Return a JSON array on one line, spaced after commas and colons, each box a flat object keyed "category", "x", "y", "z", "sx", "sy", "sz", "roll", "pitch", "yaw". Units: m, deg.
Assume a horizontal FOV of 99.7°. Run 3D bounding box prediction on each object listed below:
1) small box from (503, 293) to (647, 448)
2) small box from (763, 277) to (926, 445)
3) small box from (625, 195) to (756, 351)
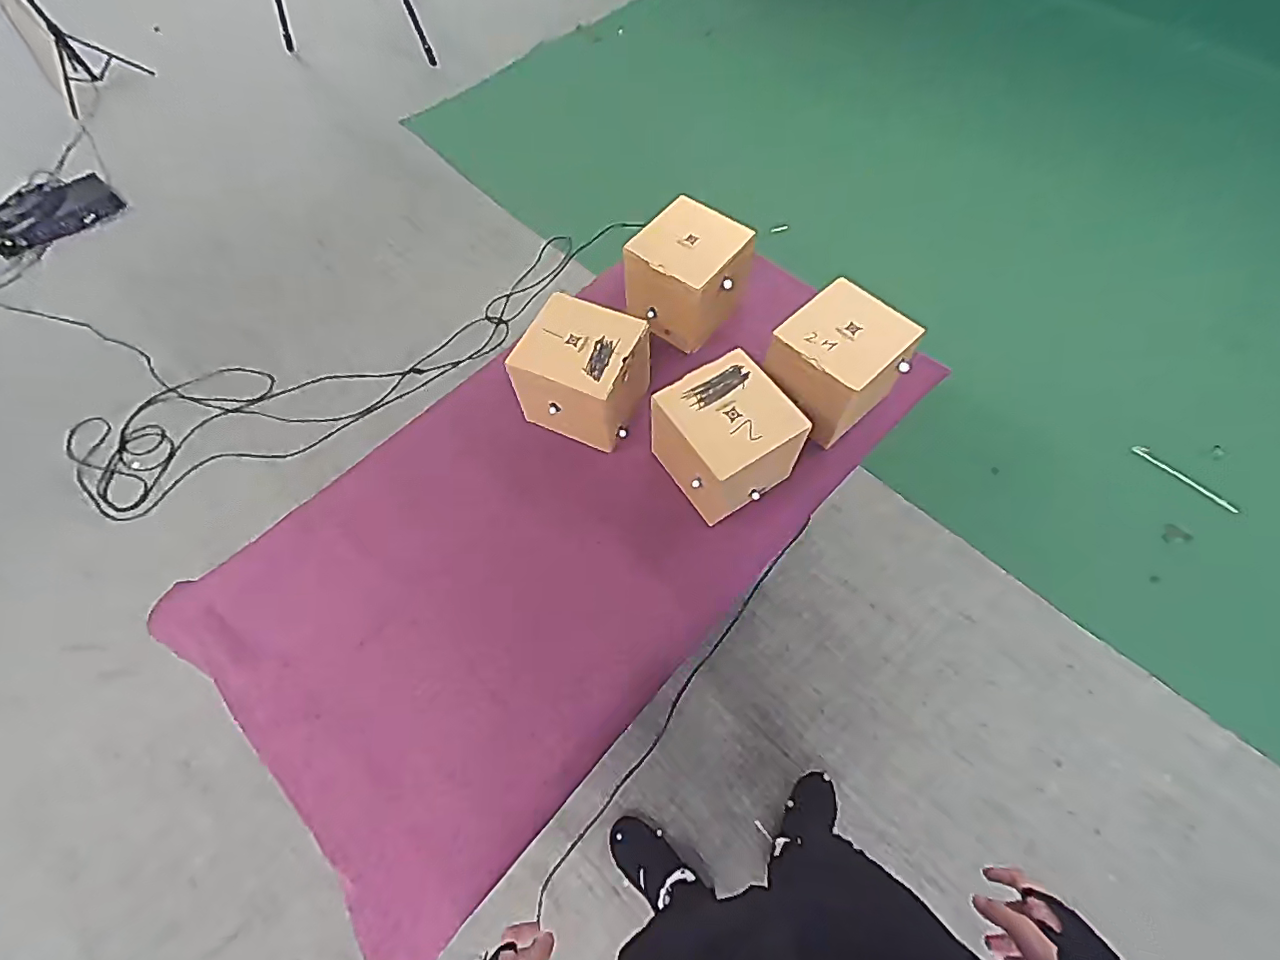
[{"category": "small box", "x": -0.097, "y": -0.176, "z": 0.914, "sx": 0.179, "sy": 0.176, "sz": 0.168, "roll": 22, "pitch": 67, "yaw": 12}, {"category": "small box", "x": 0.326, "y": -0.193, "z": 0.904, "sx": 0.179, "sy": 0.176, "sz": 0.168, "roll": -40, "pitch": 67, "yaw": -15}, {"category": "small box", "x": 0.089, "y": -0.379, "z": 1.007, "sx": 0.168, "sy": 0.176, "sz": 0.179, "roll": 35, "pitch": 72, "yaw": 17}]
